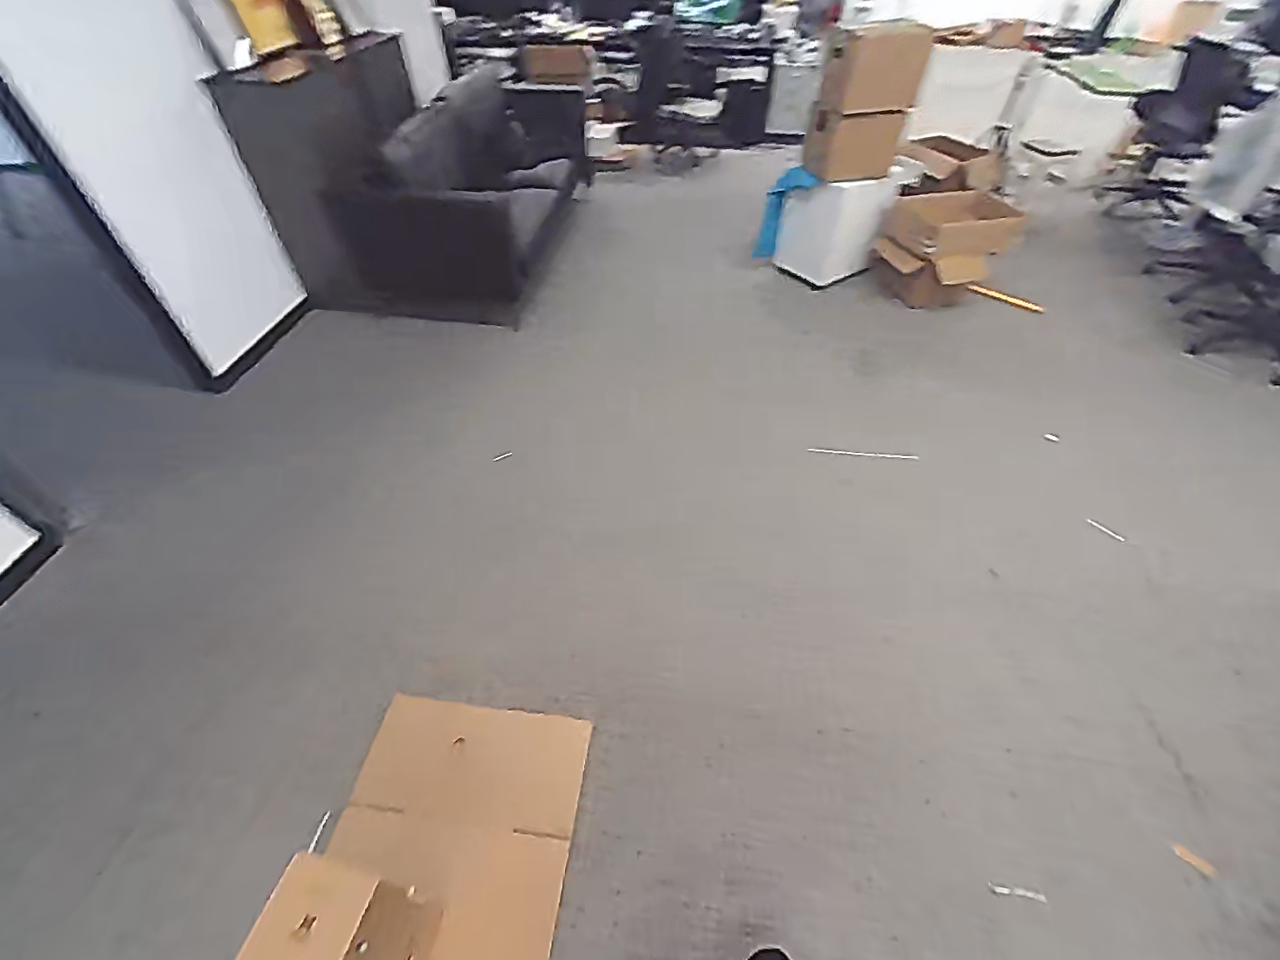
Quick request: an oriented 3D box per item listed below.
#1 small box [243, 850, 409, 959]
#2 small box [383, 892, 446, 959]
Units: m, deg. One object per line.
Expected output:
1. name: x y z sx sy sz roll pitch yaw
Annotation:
1. small box: -0.535 0.786 0.945 0.168 0.176 0.179 11 48 10
2. small box: -0.549 1.011 1.183 0.168 0.176 0.179 9 47 9
